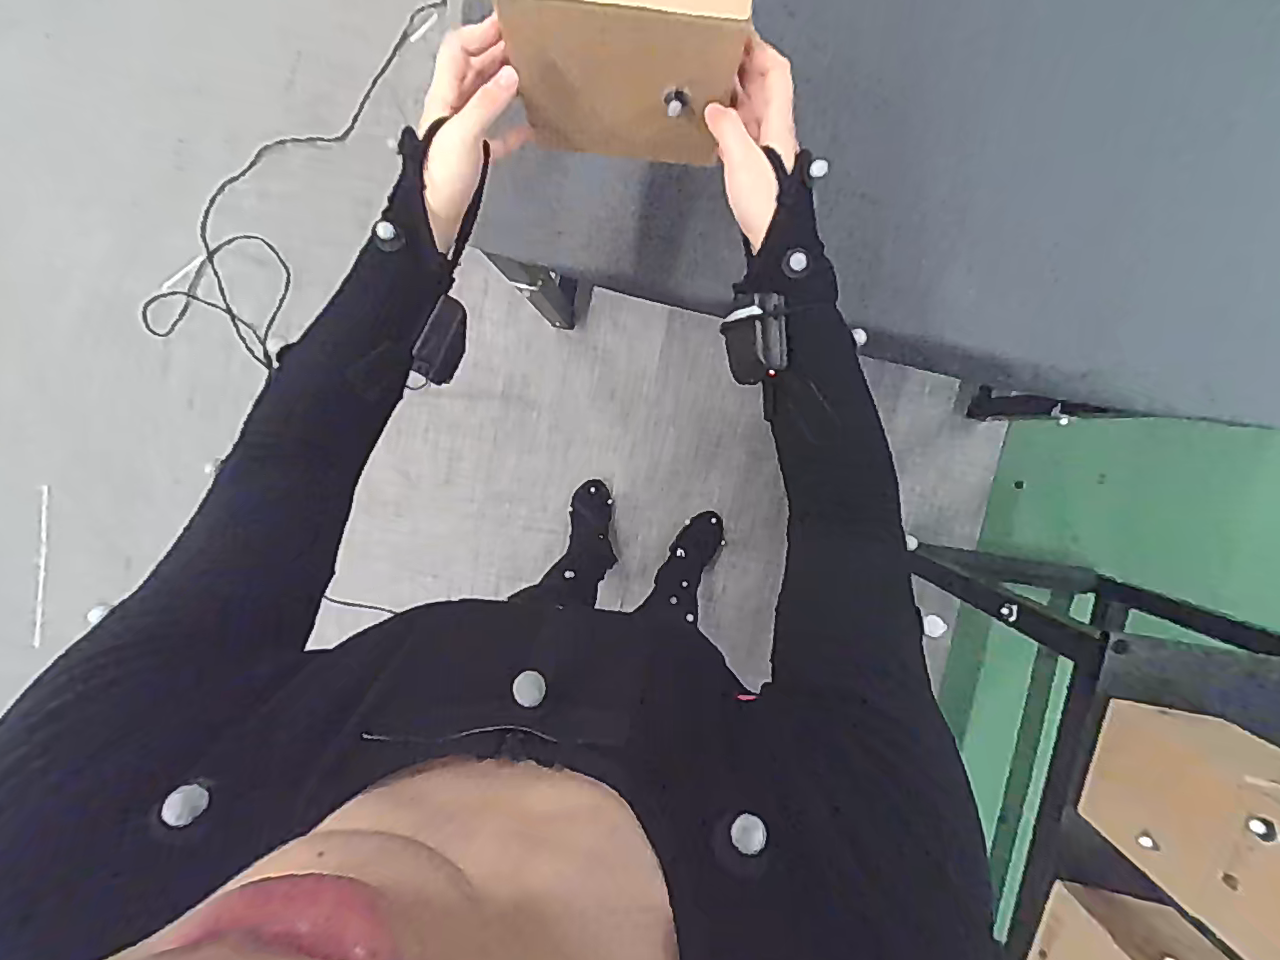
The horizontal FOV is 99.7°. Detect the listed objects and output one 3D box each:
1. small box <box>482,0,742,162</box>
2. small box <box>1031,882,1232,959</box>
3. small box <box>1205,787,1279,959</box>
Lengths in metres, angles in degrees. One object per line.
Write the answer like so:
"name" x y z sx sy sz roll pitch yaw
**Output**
"small box" -0.014 -0.390 0.441 0.179 0.176 0.168 4 89 0
"small box" 0.658 0.670 0.699 0.179 0.176 0.168 14 97 0
"small box" 0.712 0.425 0.507 0.179 0.176 0.168 13 97 -1
